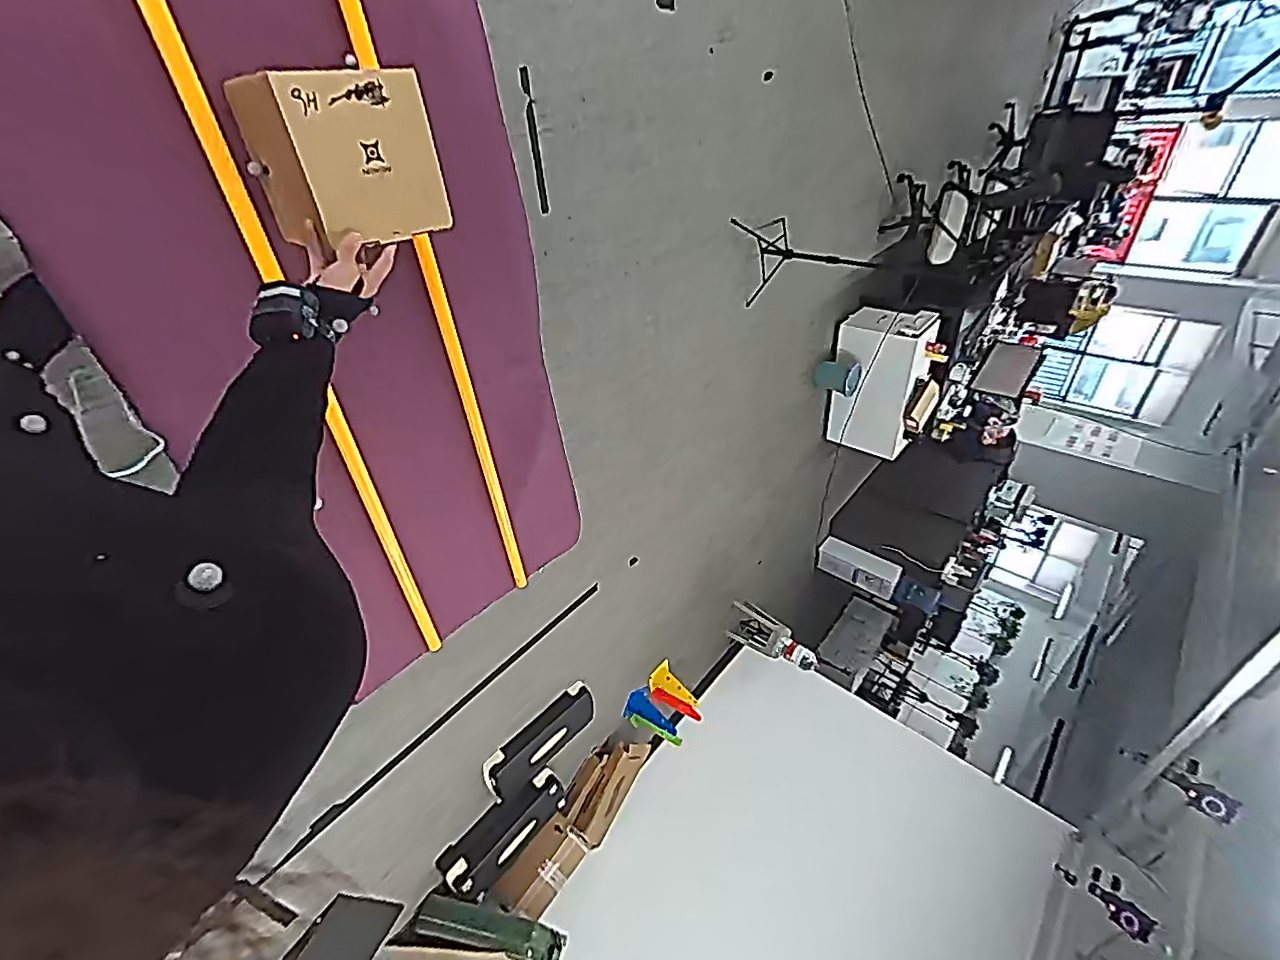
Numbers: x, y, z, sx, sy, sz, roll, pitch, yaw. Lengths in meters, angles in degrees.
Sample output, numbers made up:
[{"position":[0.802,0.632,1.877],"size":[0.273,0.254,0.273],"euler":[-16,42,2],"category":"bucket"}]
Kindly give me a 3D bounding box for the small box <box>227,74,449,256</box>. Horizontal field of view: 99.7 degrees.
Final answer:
[{"position":[-0.376,-0.403,0.686],"size":[0.168,0.176,0.179],"euler":[-34,136,-36],"category":"small box"}]
